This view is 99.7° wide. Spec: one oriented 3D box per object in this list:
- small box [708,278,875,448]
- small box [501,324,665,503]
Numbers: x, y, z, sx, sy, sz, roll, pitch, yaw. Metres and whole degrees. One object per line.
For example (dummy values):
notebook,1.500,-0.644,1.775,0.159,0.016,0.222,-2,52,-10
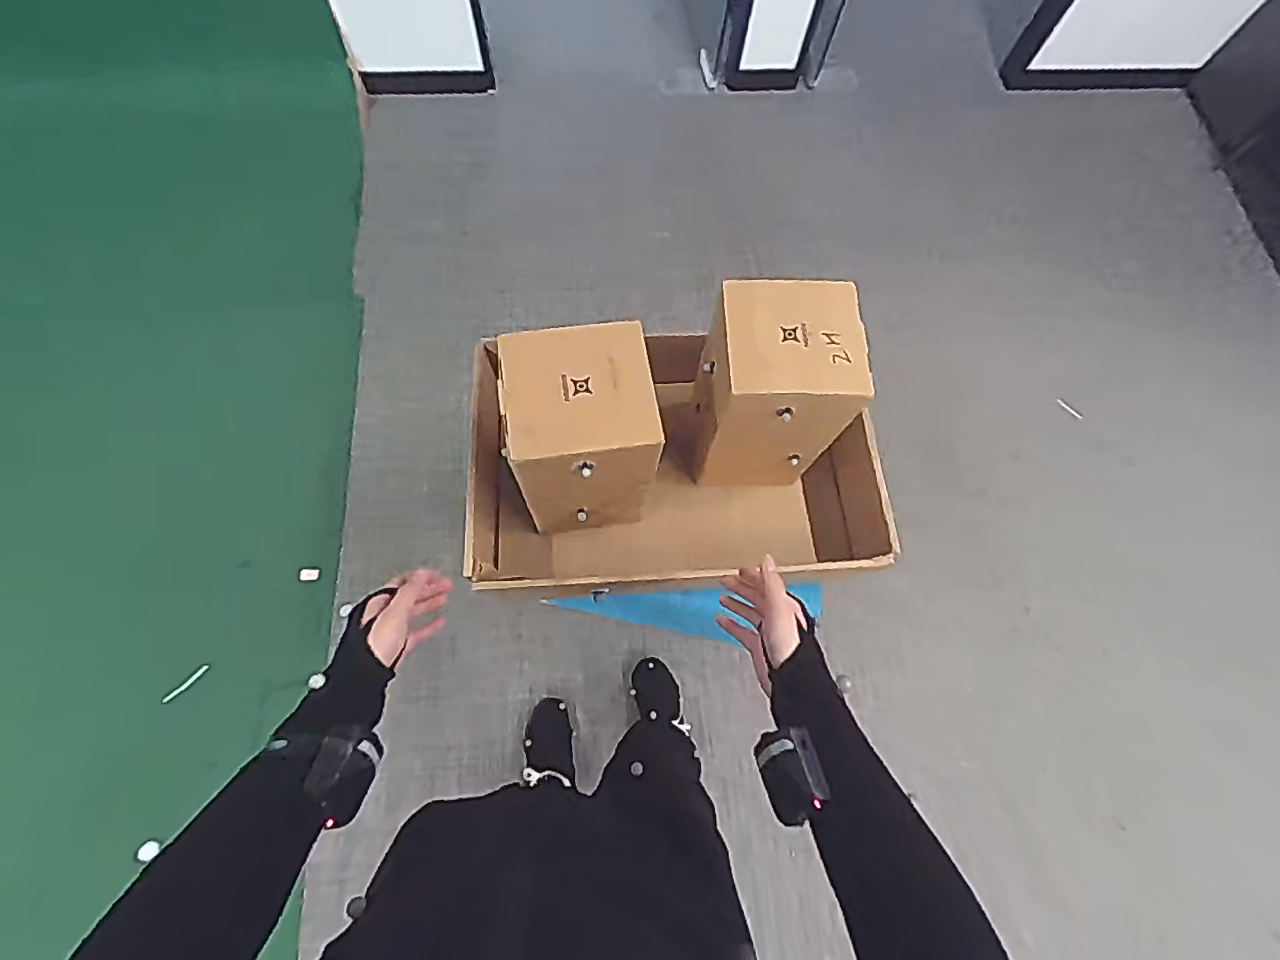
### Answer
small box,0.189,-0.149,0.735,0.179,0.176,0.168,1,71,-3
small box,-0.074,-0.077,0.696,0.179,0.176,0.168,-7,71,-8
